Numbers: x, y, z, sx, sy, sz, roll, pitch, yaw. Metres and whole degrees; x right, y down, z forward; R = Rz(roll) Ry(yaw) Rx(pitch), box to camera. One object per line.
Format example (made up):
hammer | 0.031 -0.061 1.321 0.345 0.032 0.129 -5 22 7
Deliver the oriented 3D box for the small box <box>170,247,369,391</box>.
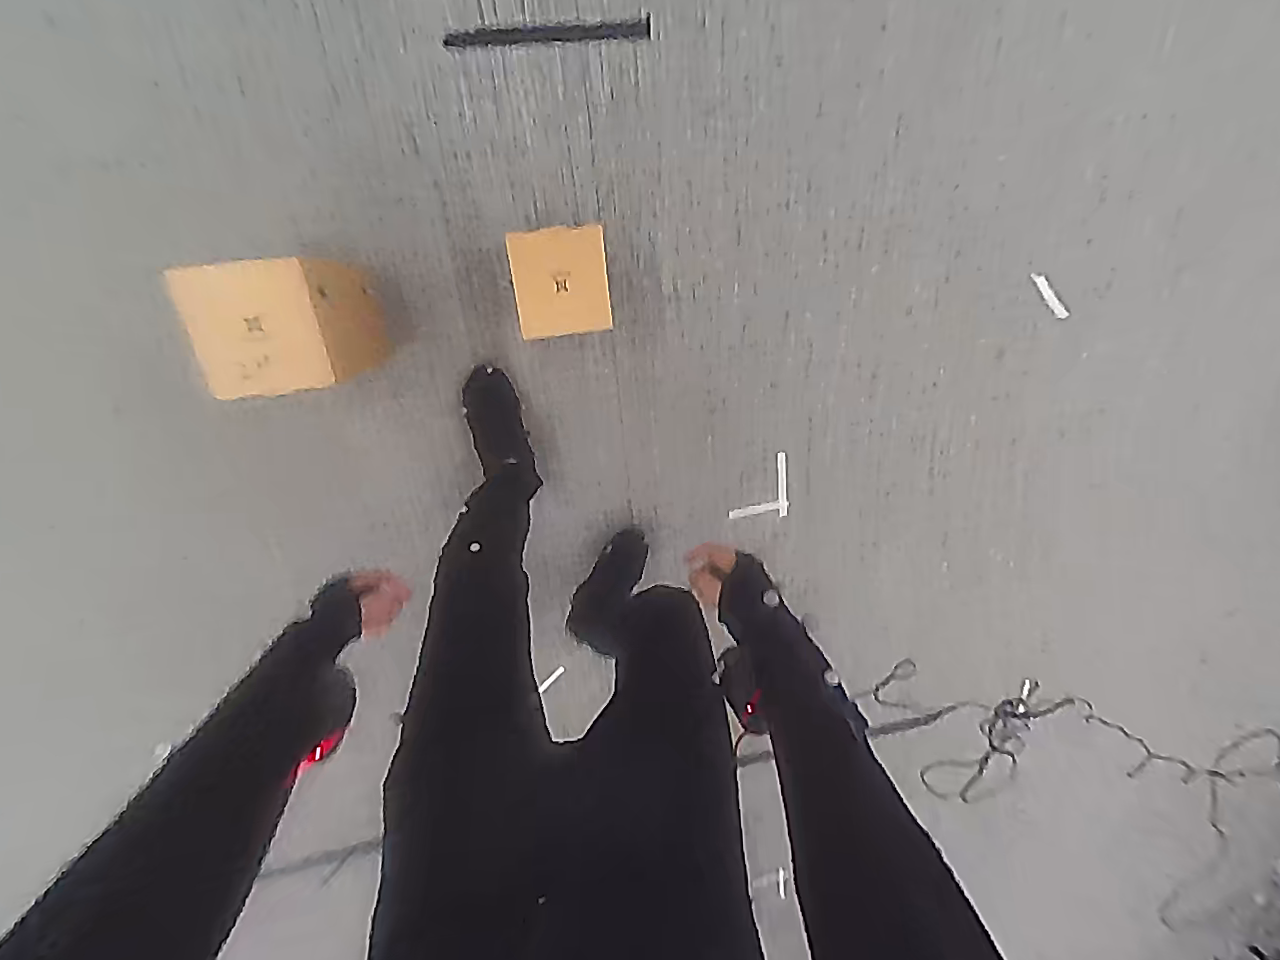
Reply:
small box | -0.530 -0.242 0.805 0.168 0.176 0.179 -8 113 -7

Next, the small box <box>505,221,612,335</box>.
small box | -0.151 -0.377 1.011 0.168 0.176 0.179 -9 112 -8
